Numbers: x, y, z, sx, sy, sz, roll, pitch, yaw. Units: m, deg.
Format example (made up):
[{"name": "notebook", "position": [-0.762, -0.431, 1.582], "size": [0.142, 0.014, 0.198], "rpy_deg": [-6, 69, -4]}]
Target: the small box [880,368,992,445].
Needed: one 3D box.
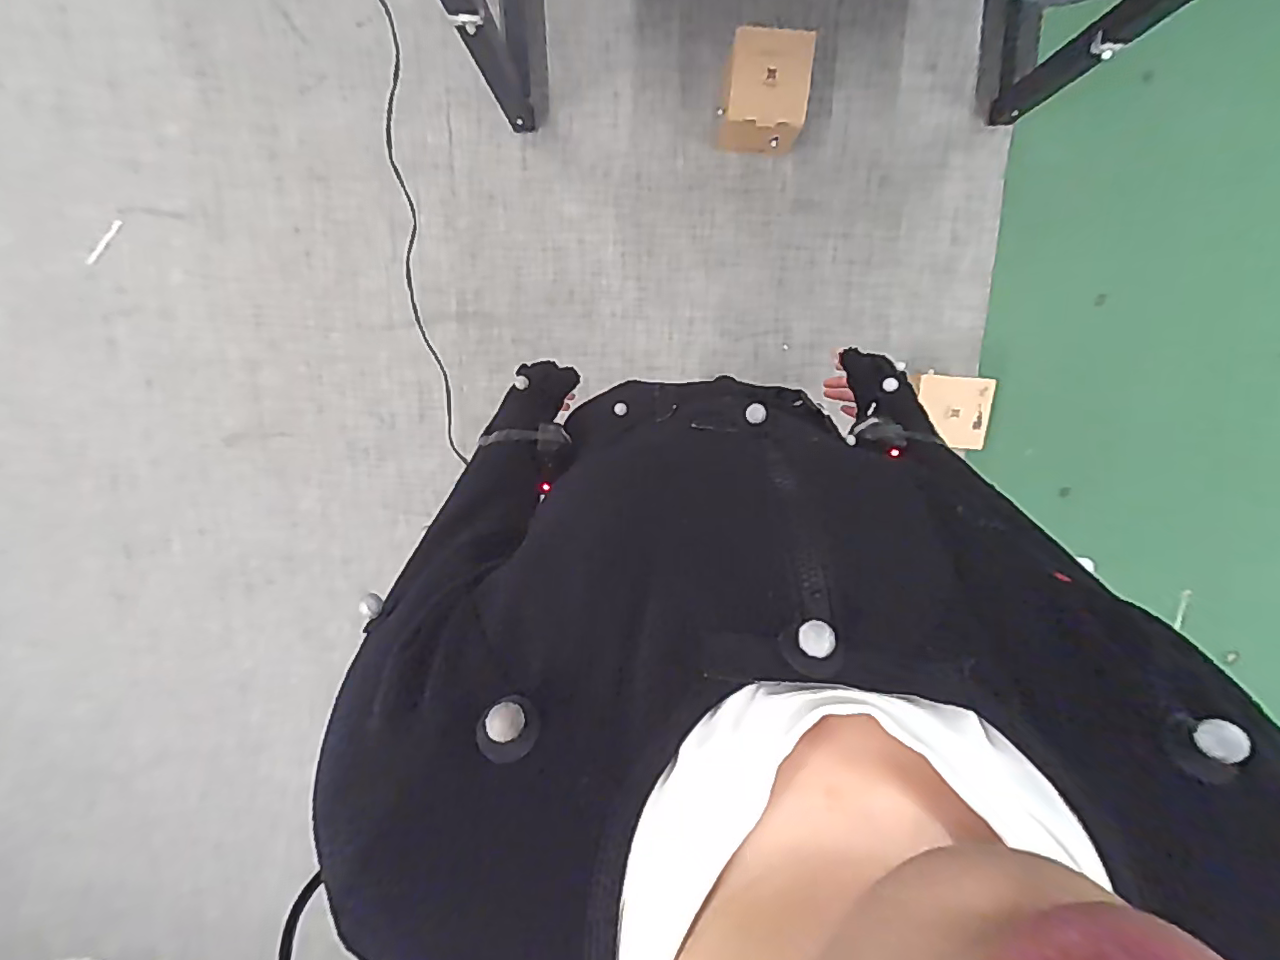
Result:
[{"name": "small box", "position": [0.722, -0.186, 1.341], "size": [0.179, 0.176, 0.168], "rpy_deg": [6, 102, 0]}]

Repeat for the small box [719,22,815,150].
[{"name": "small box", "position": [0.274, -0.862, 1.202], "size": [0.168, 0.176, 0.179], "rpy_deg": [4, 101, -1]}]
